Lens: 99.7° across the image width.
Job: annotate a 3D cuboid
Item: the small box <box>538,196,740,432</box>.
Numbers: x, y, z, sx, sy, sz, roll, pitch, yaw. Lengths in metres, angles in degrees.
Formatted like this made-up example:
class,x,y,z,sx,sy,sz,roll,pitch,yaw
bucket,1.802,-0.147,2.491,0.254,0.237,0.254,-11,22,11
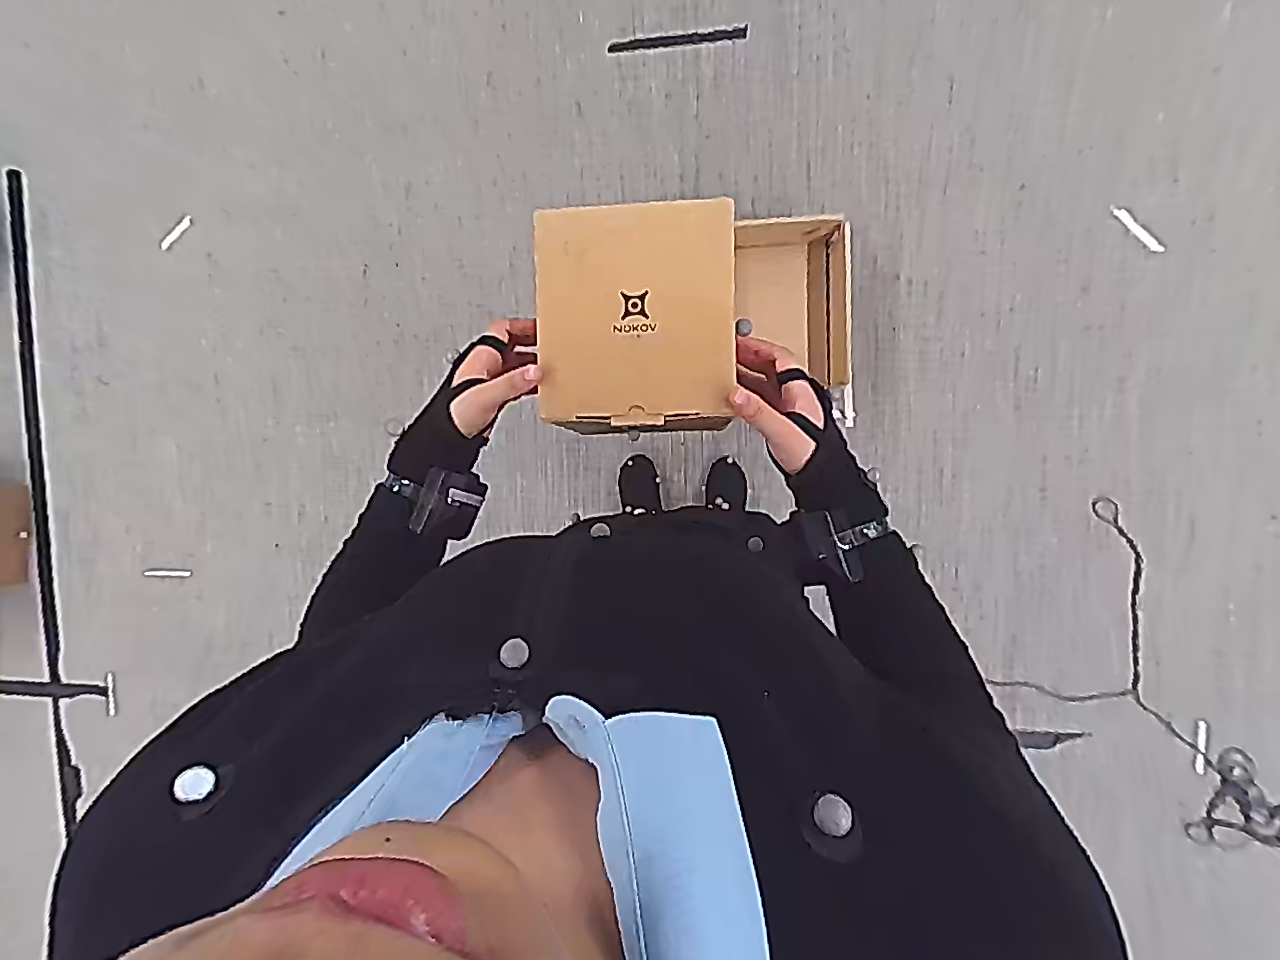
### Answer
class,x,y,z,sx,sy,sz,roll,pitch,yaw
small box,0.004,-0.141,0.517,0.168,0.176,0.179,-1,91,5
